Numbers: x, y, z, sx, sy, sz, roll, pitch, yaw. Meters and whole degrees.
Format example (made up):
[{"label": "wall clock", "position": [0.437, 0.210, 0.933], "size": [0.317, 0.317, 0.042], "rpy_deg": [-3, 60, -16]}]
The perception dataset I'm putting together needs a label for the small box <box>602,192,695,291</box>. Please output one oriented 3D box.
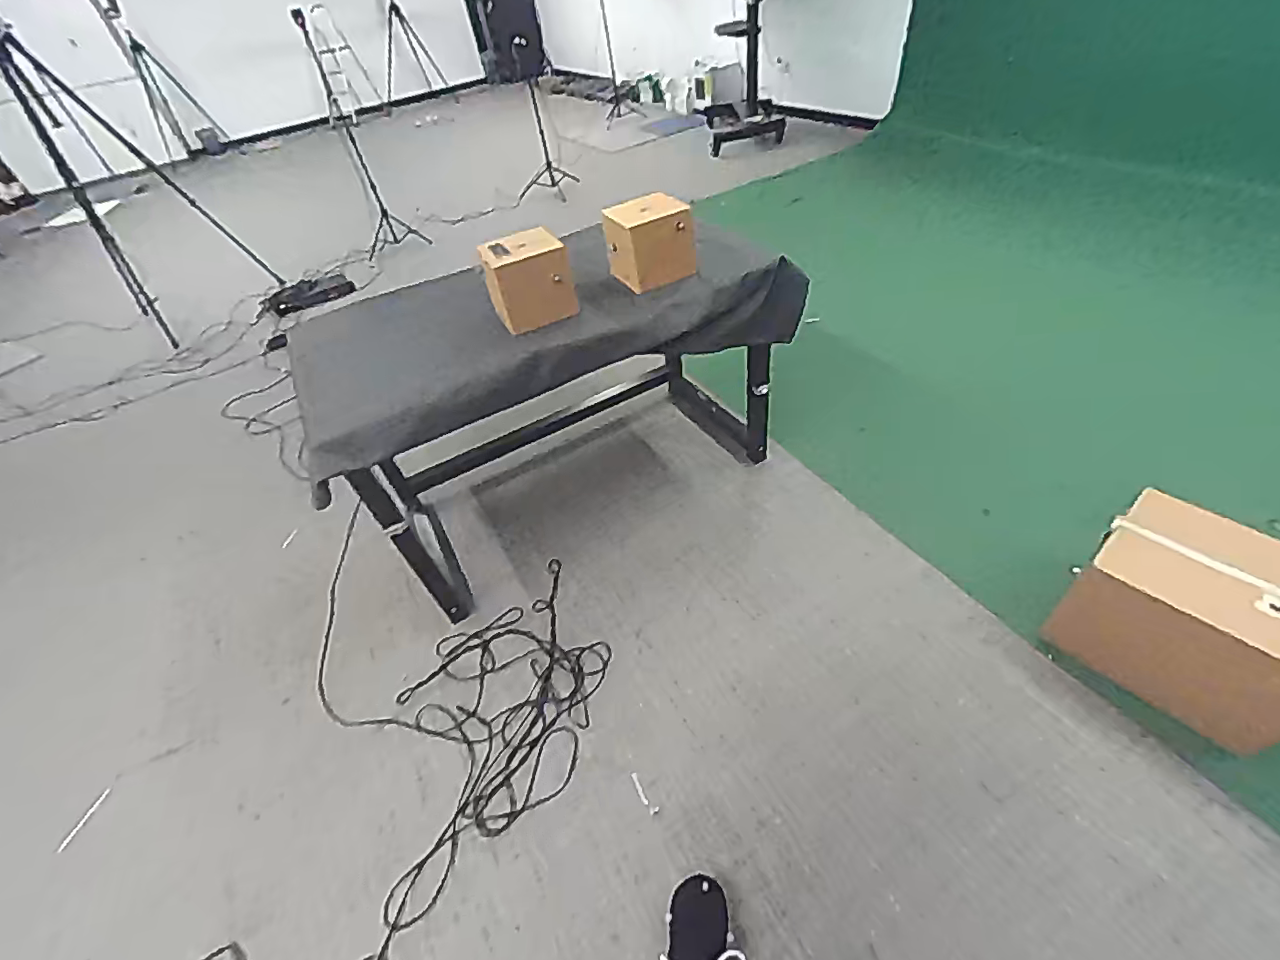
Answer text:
[{"label": "small box", "position": [0.027, -0.605, 1.377], "size": [0.179, 0.176, 0.168], "rpy_deg": [-25, 46, -15]}]
